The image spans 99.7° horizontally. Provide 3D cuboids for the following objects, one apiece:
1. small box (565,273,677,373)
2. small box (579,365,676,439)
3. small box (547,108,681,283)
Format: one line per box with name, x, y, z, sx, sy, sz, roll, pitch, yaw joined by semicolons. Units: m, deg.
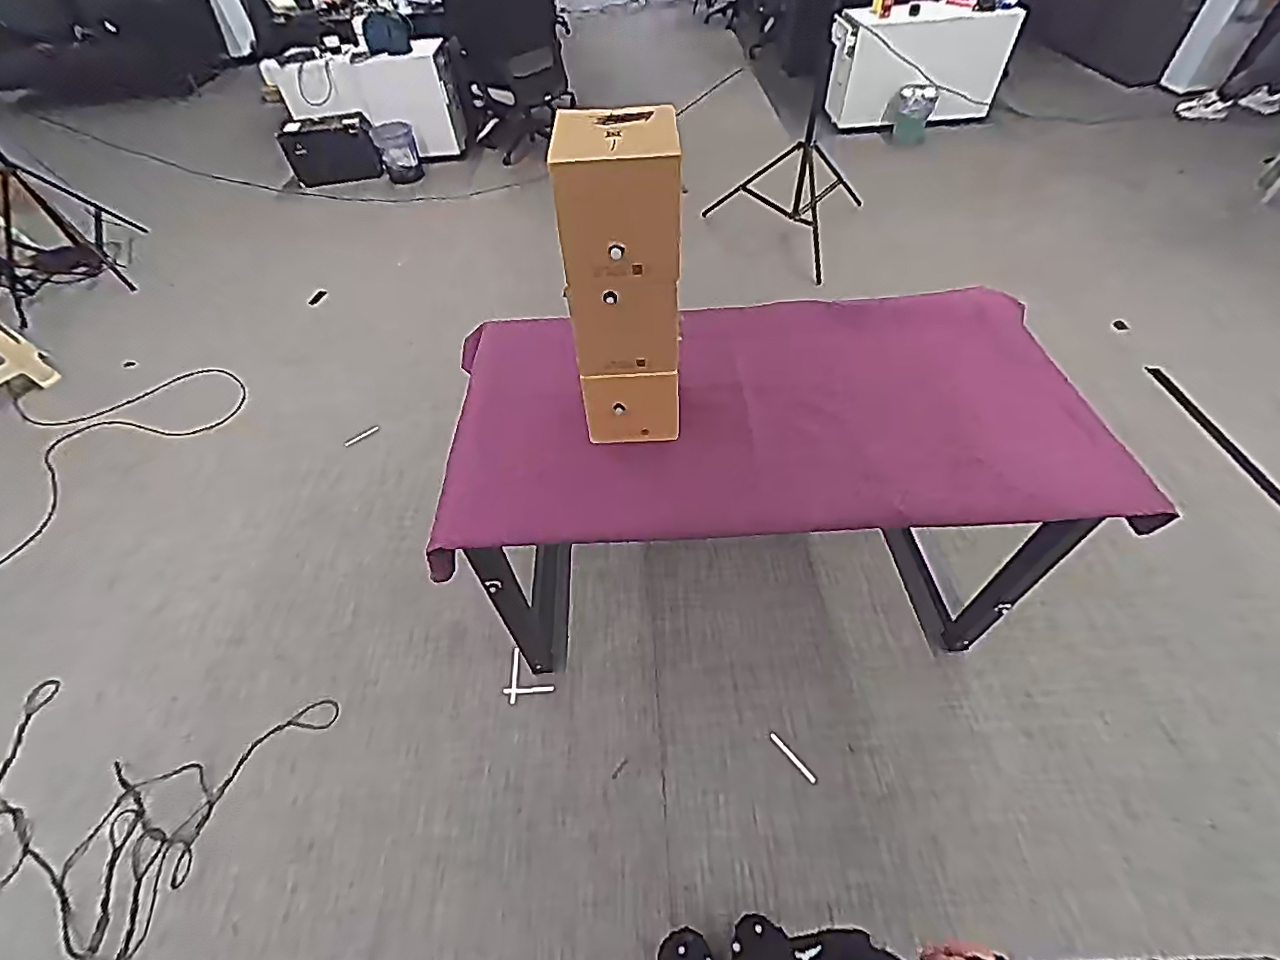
small box;-0.026;-0.298;0.895;0.168;0.176;0.179;-3;50;1
small box;-0.018;-0.189;1.018;0.168;0.176;0.179;-3;50;2
small box;-0.030;-0.400;0.766;0.168;0.176;0.179;-2;51;2
